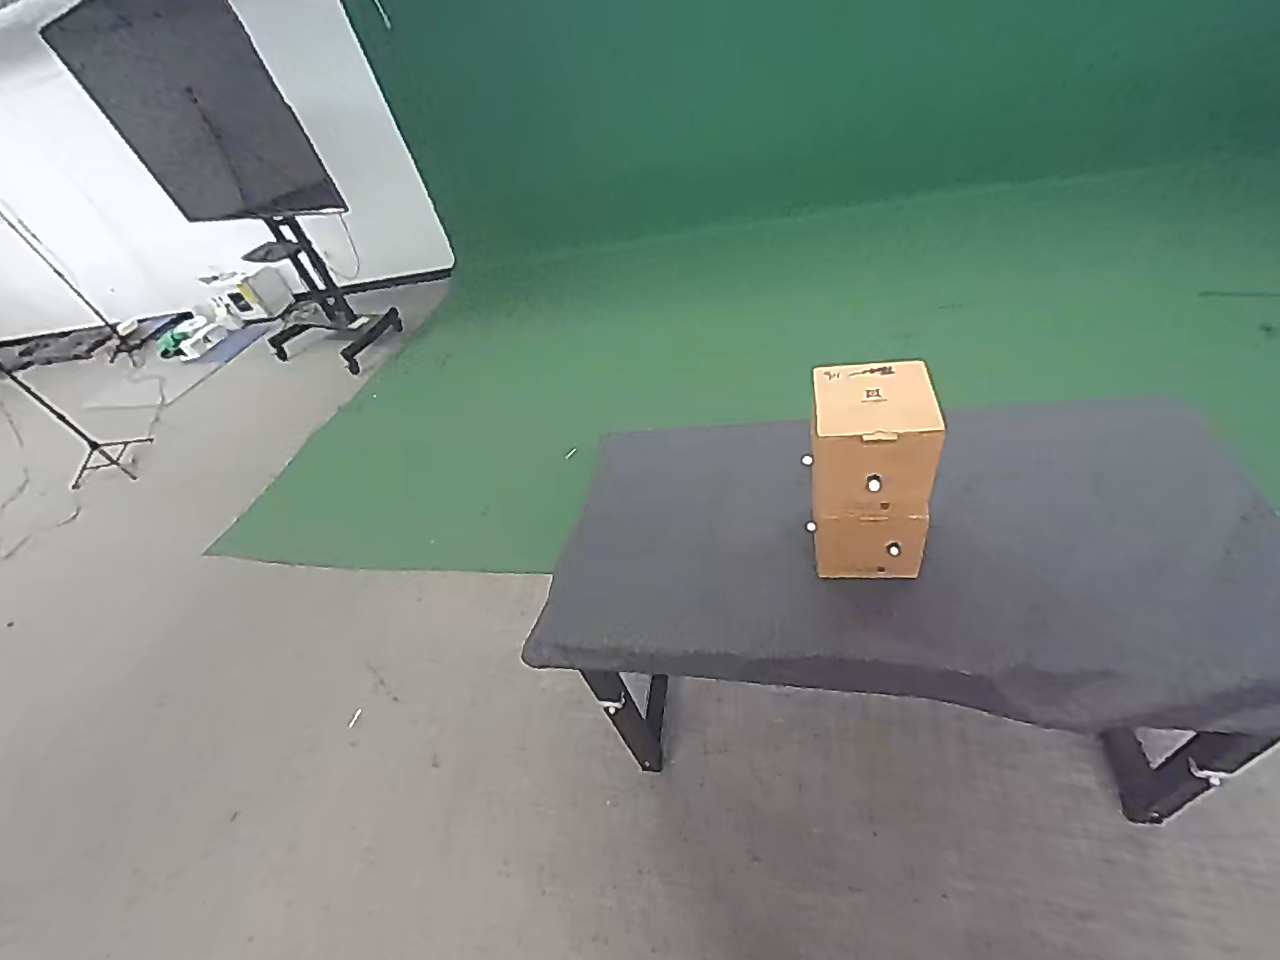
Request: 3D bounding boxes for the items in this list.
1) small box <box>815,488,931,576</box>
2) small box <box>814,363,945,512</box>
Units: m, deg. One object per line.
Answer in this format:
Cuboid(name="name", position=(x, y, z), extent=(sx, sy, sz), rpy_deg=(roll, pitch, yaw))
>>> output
Cuboid(name="small box", position=(0.403, 0.056, 0.966), extent=(0.168, 0.176, 0.179), rpy_deg=(-2, 44, 15))
Cuboid(name="small box", position=(0.367, -0.063, 0.859), extent=(0.168, 0.176, 0.179), rpy_deg=(0, 46, 15))
